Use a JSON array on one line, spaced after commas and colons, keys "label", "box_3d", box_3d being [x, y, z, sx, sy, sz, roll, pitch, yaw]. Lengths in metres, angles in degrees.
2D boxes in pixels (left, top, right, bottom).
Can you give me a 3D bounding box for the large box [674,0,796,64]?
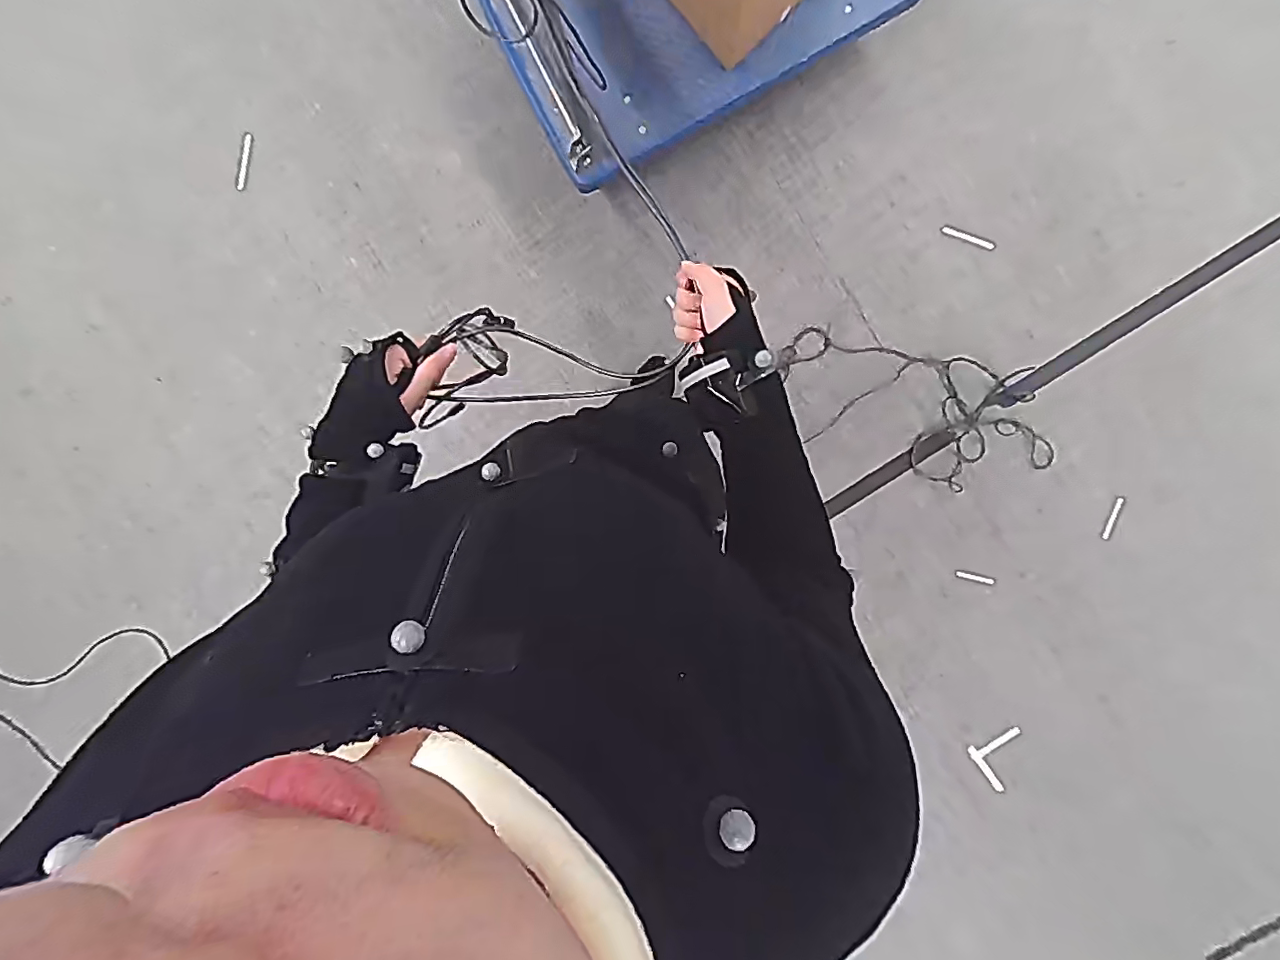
[{"label": "large box", "box_3d": [0.167, -1.112, 0.985, 0.320, 0.320, 0.408, -42, 96, 7]}]
